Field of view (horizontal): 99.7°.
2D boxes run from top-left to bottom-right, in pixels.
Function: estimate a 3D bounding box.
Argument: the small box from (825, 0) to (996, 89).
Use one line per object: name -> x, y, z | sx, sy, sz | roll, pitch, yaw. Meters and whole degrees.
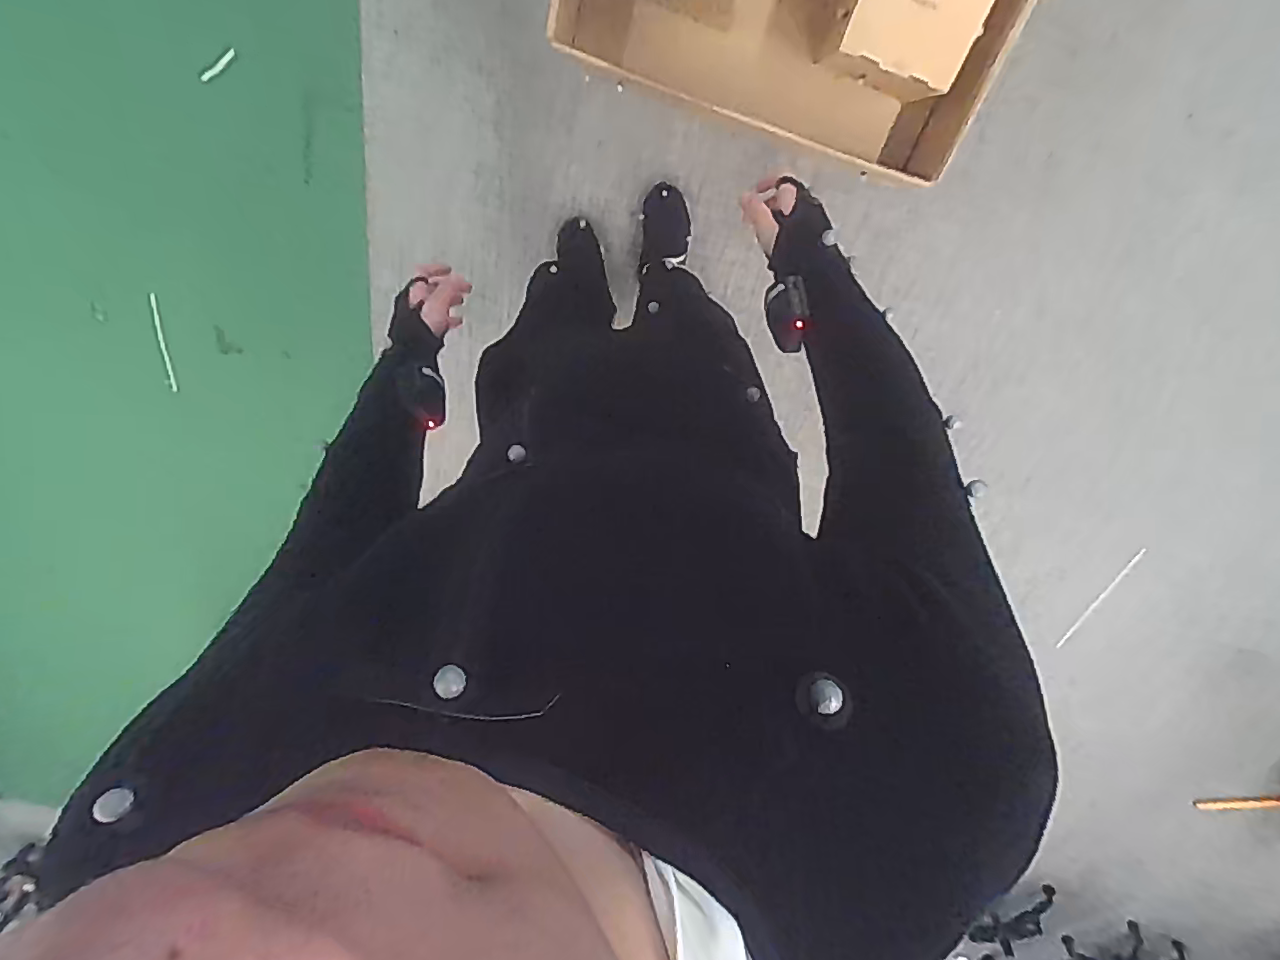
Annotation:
small box -> 0.374, -0.666, 0.738 | 0.168, 0.176, 0.179 | 17, 123, -5
